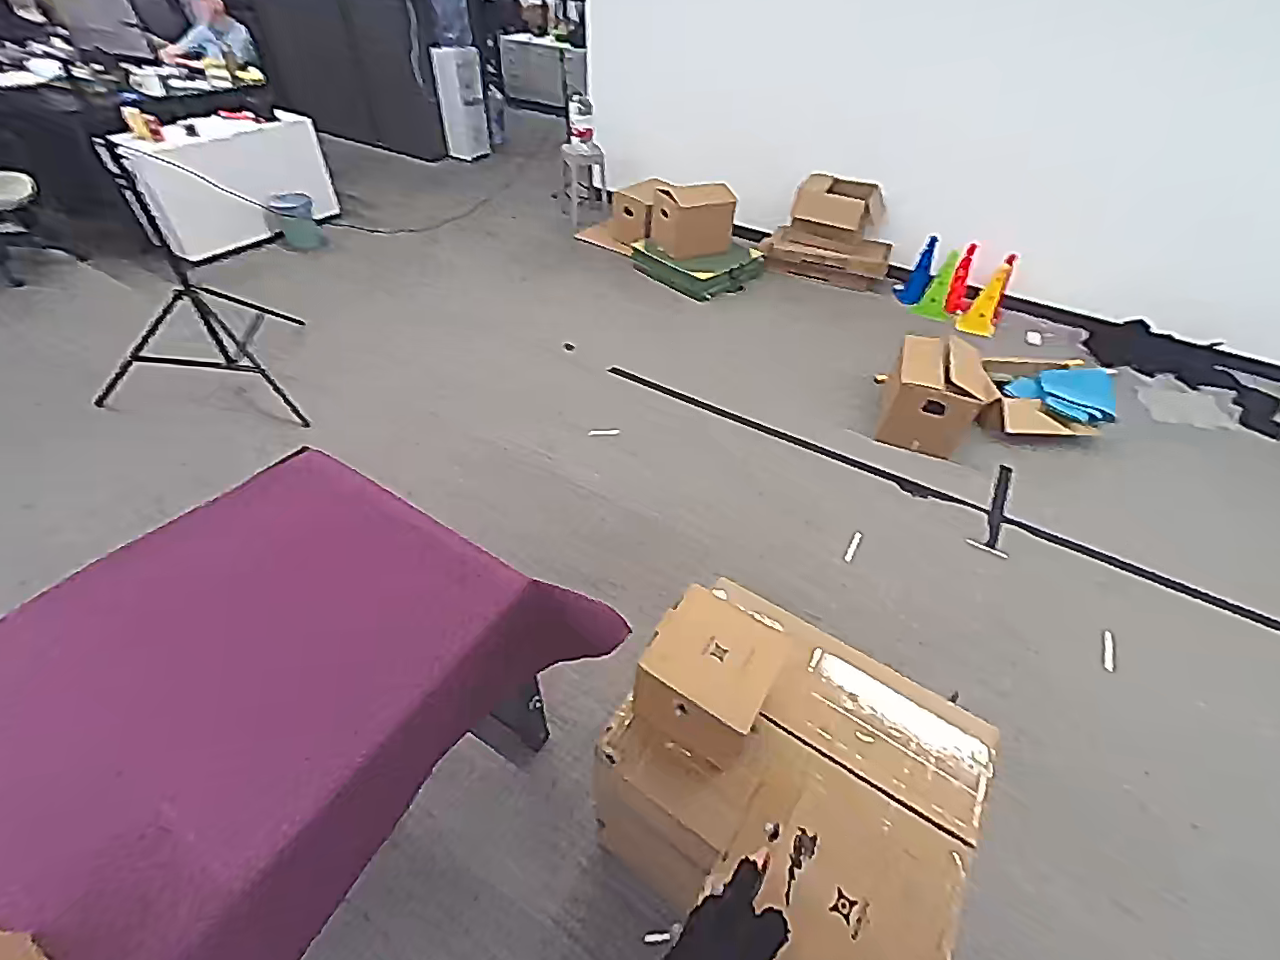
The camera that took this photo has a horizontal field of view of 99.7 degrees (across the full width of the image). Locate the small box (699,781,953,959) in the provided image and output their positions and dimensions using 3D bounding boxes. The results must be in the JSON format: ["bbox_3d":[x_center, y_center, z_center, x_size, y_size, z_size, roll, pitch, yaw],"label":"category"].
[{"bbox_3d":[0.191,0.460,0.595,0.179,0.176,0.168,35,61,11],"label":"small box"}]

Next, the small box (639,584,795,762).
[{"bbox_3d":[0.109,0.301,0.837,0.179,0.176,0.168,27,52,20],"label":"small box"}]
